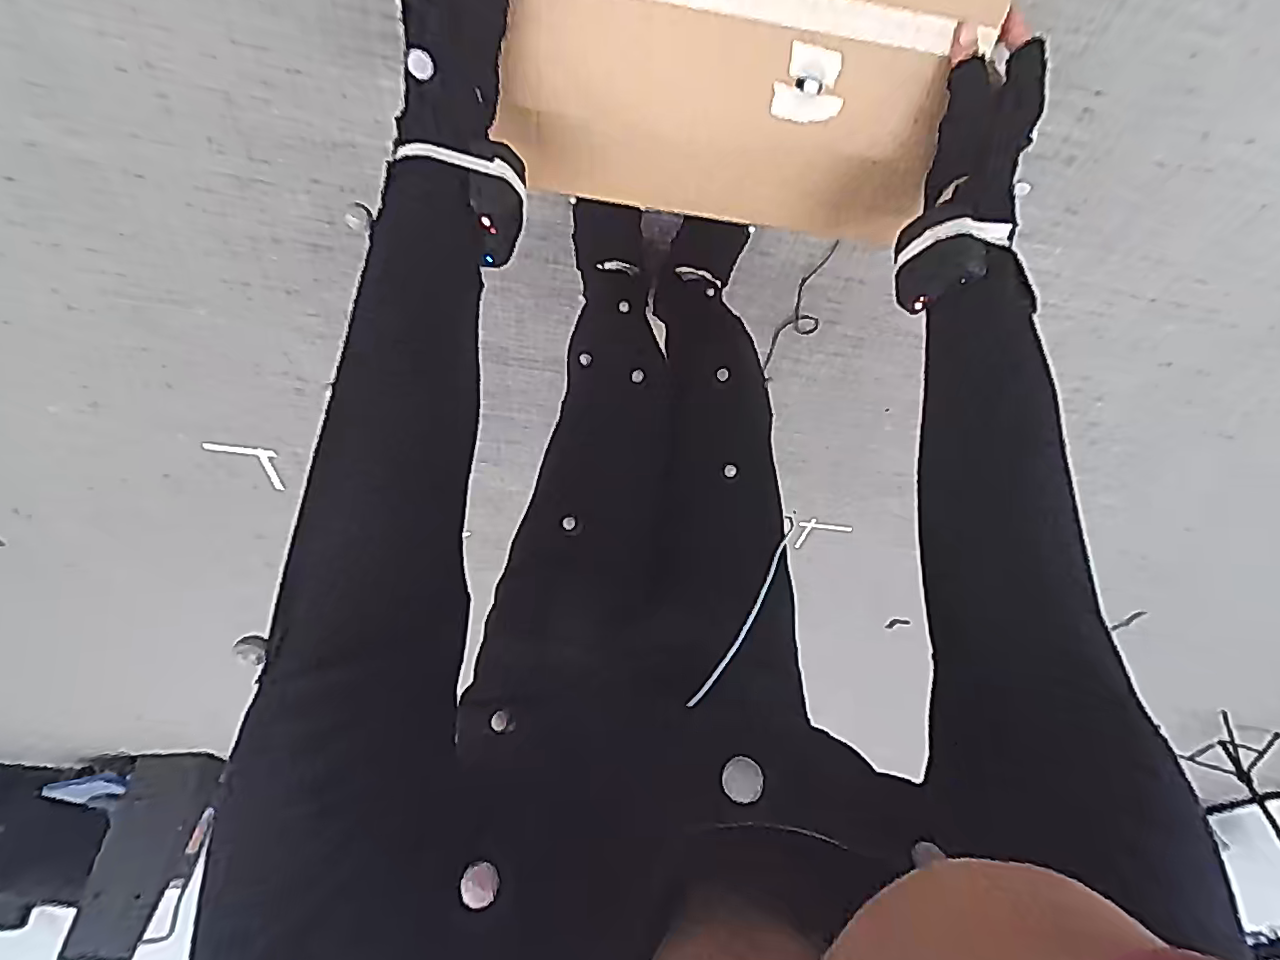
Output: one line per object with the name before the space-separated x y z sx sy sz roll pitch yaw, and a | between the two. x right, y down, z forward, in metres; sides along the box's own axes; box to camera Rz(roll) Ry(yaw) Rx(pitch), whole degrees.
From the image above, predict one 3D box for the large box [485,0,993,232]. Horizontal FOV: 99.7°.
large box | 0.074 -0.476 0.535 0.408 0.320 0.320 5 132 -7
